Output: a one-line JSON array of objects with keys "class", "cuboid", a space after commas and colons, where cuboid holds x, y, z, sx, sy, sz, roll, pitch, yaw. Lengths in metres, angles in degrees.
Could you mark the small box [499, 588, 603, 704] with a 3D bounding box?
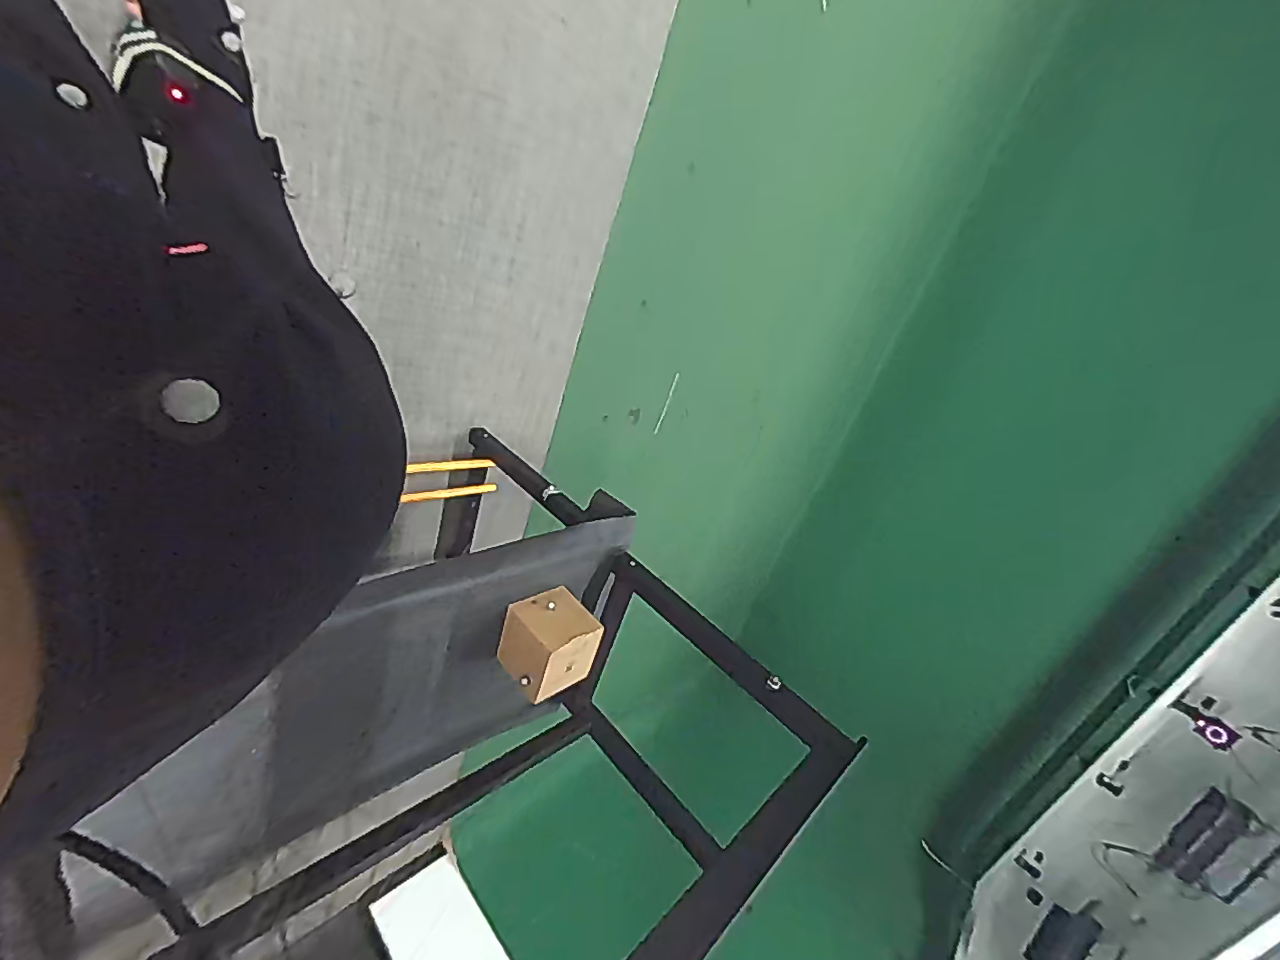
[{"class": "small box", "cuboid": [-0.221, 0.395, 1.309, 0.168, 0.176, 0.179, -12, 129, -48]}]
